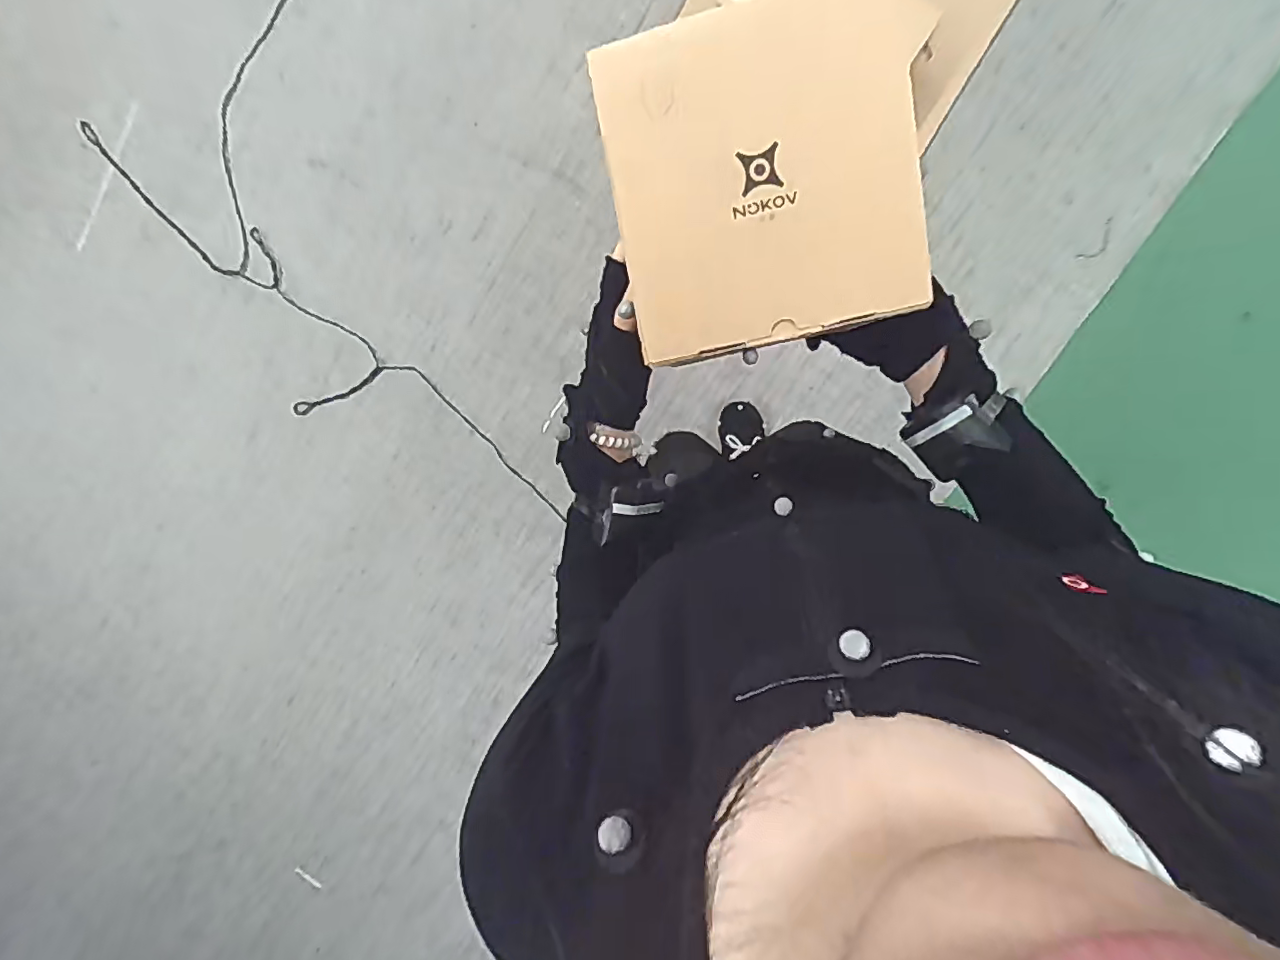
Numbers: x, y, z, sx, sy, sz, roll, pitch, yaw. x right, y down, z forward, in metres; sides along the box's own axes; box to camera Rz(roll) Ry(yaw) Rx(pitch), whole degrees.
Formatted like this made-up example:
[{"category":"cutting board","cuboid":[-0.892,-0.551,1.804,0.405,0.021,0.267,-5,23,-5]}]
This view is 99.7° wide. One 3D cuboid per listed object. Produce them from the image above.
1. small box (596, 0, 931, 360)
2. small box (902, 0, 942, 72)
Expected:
[{"category":"small box","cuboid":[0.079,-0.186,0.381,0.168,0.176,0.179,-11,102,10]},{"category":"small box","cuboid":[0.535,-0.962,1.232,0.168,0.176,0.179,35,100,4]}]
